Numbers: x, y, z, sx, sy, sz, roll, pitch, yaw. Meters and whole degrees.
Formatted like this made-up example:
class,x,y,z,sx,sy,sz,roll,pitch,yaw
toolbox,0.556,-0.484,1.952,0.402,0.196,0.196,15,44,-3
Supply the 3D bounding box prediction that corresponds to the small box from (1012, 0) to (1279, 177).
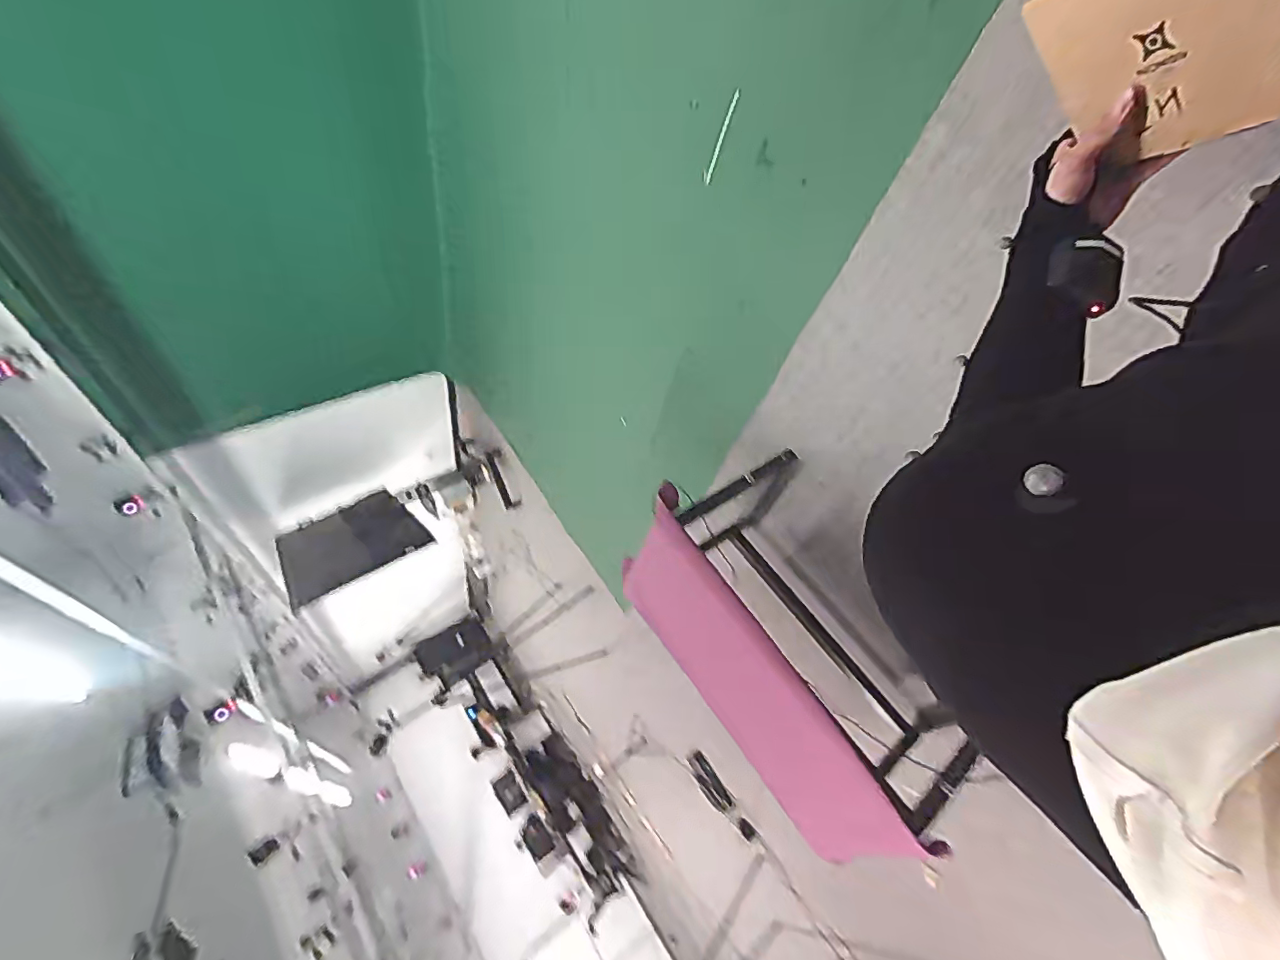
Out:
class,x,y,z,sx,sy,sz,roll,pitch,yaw
small box,0.458,-0.393,0.427,0.179,0.176,0.168,45,180,-19
